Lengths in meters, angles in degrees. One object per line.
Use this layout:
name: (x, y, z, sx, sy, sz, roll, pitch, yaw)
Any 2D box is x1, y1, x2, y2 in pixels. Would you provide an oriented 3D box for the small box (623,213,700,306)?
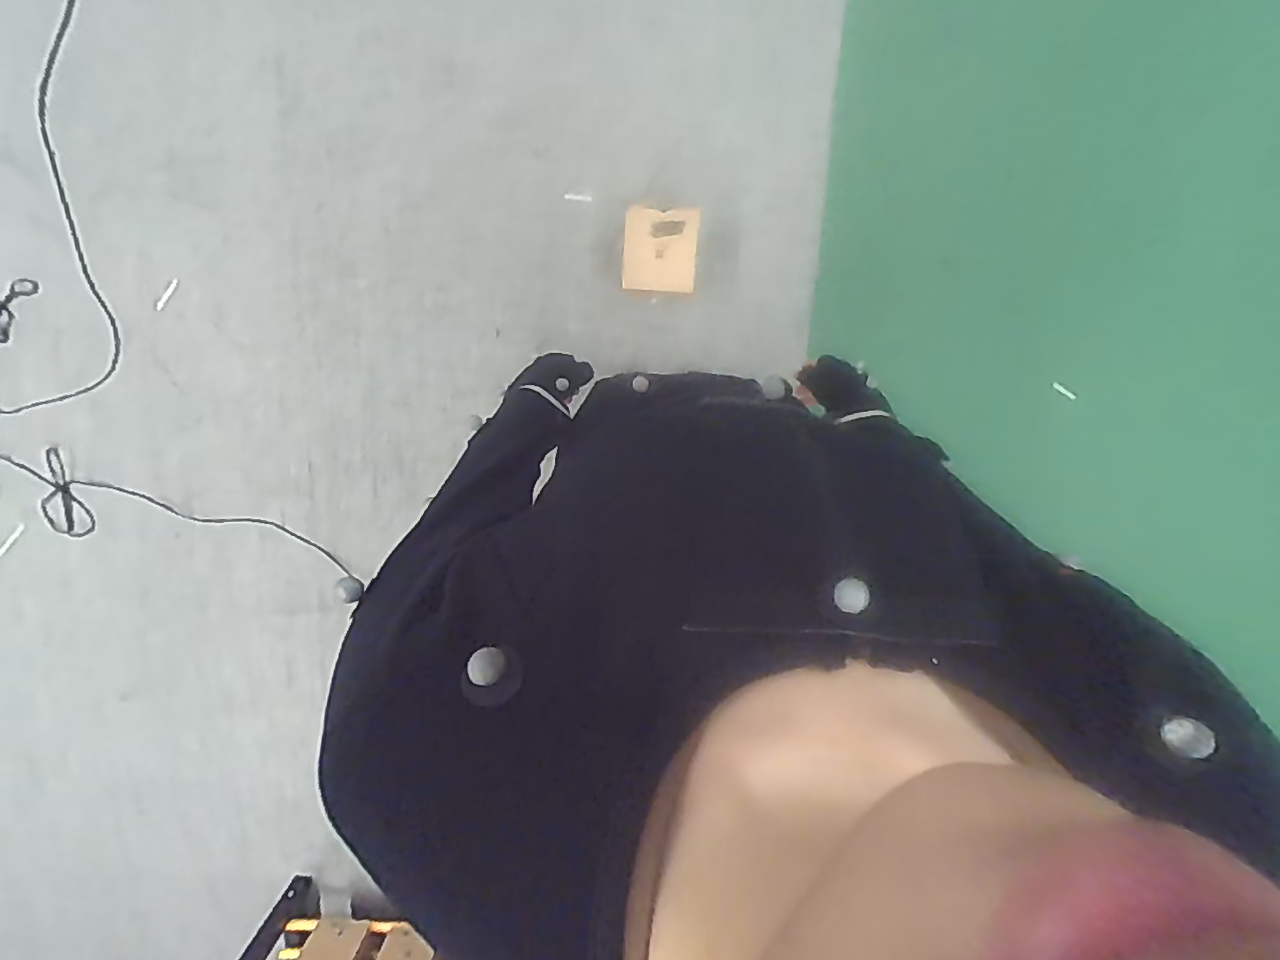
small box: (0.047, -0.518, 1.291, 0.168, 0.176, 0.179, 3, 103, 0)

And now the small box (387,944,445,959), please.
small box: (-0.692, 1.539, 1.615, 0.168, 0.176, 0.179, 2, 101, 0)
